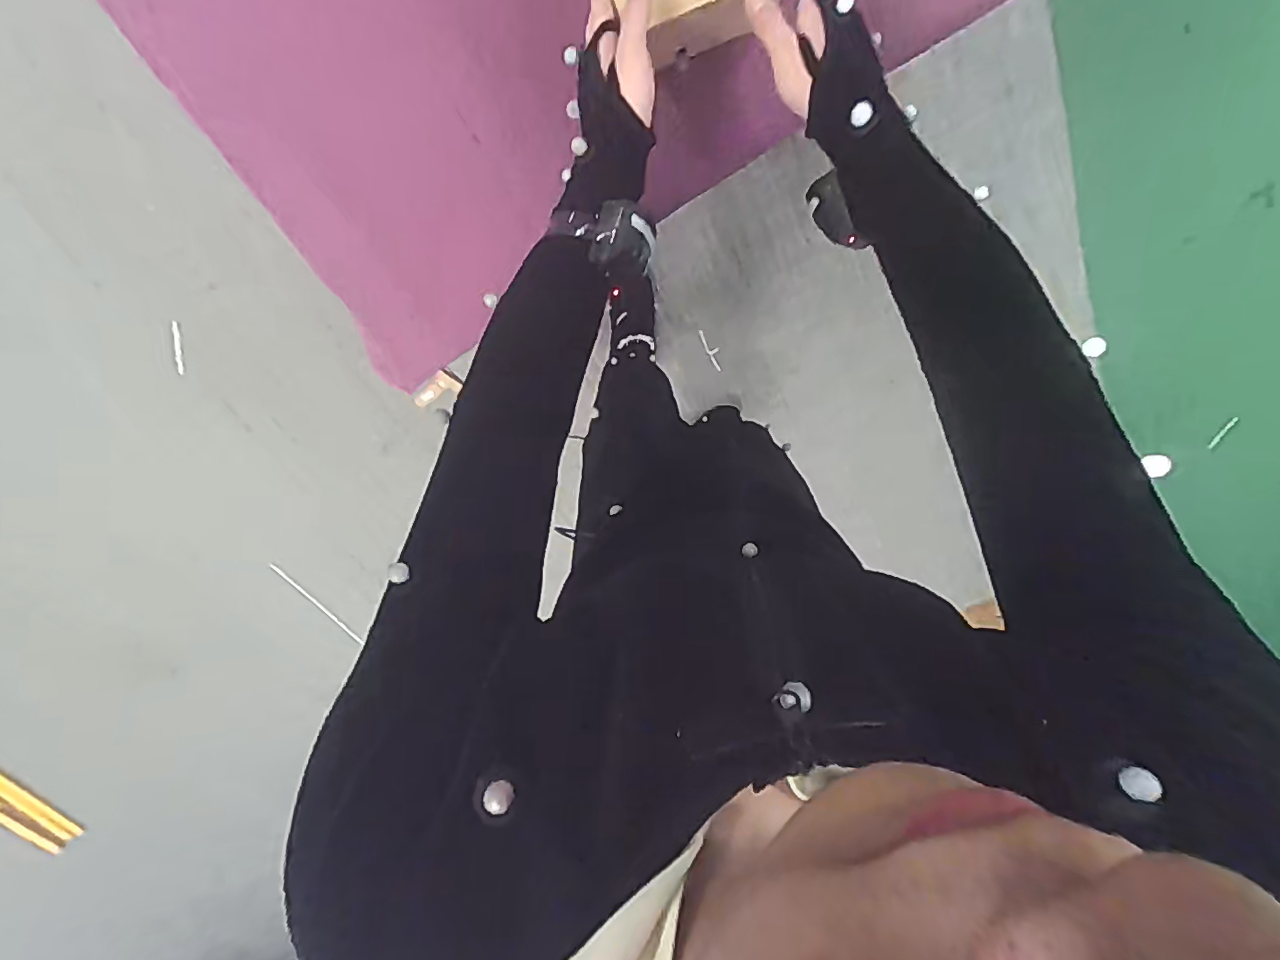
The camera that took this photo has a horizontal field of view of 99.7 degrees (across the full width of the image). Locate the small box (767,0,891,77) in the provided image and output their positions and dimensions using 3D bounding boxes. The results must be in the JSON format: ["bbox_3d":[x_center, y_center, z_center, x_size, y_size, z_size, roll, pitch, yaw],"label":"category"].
[{"bbox_3d":[0.372,-0.964,1.102,0.168,0.176,0.179,-31,113,12],"label":"small box"}]

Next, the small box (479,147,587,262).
[{"bbox_3d":[-0.235,-0.626,1.241,0.179,0.176,0.168,-29,115,11],"label":"small box"}]

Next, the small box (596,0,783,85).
[{"bbox_3d":[0.031,-0.506,0.495,0.168,0.176,0.179,-16,113,6],"label":"small box"}]
